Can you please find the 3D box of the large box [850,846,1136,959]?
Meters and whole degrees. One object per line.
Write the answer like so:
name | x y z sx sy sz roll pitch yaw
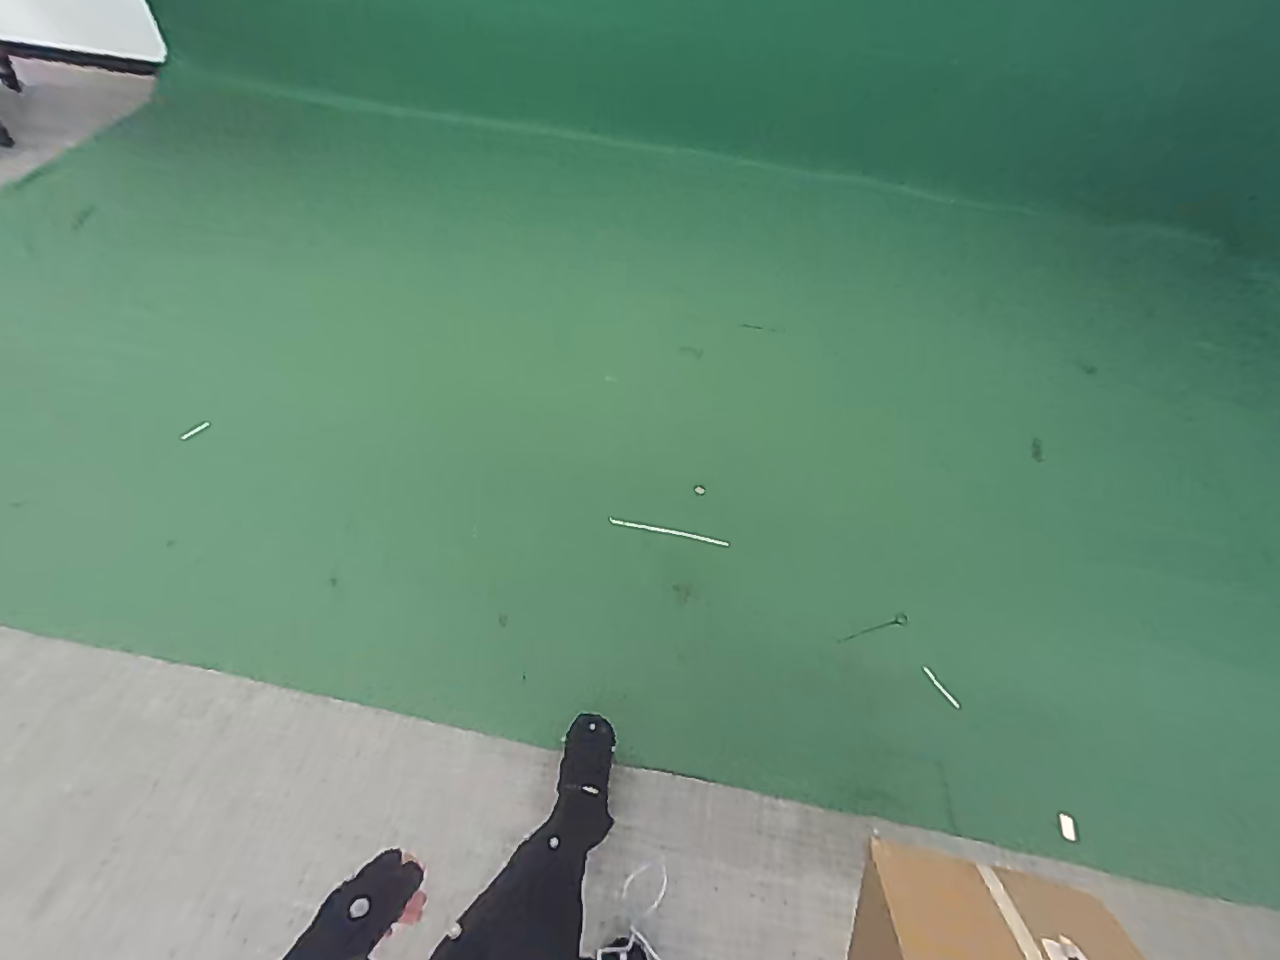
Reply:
large box | 0.437 0.737 0.614 0.320 0.408 0.320 9 95 11
